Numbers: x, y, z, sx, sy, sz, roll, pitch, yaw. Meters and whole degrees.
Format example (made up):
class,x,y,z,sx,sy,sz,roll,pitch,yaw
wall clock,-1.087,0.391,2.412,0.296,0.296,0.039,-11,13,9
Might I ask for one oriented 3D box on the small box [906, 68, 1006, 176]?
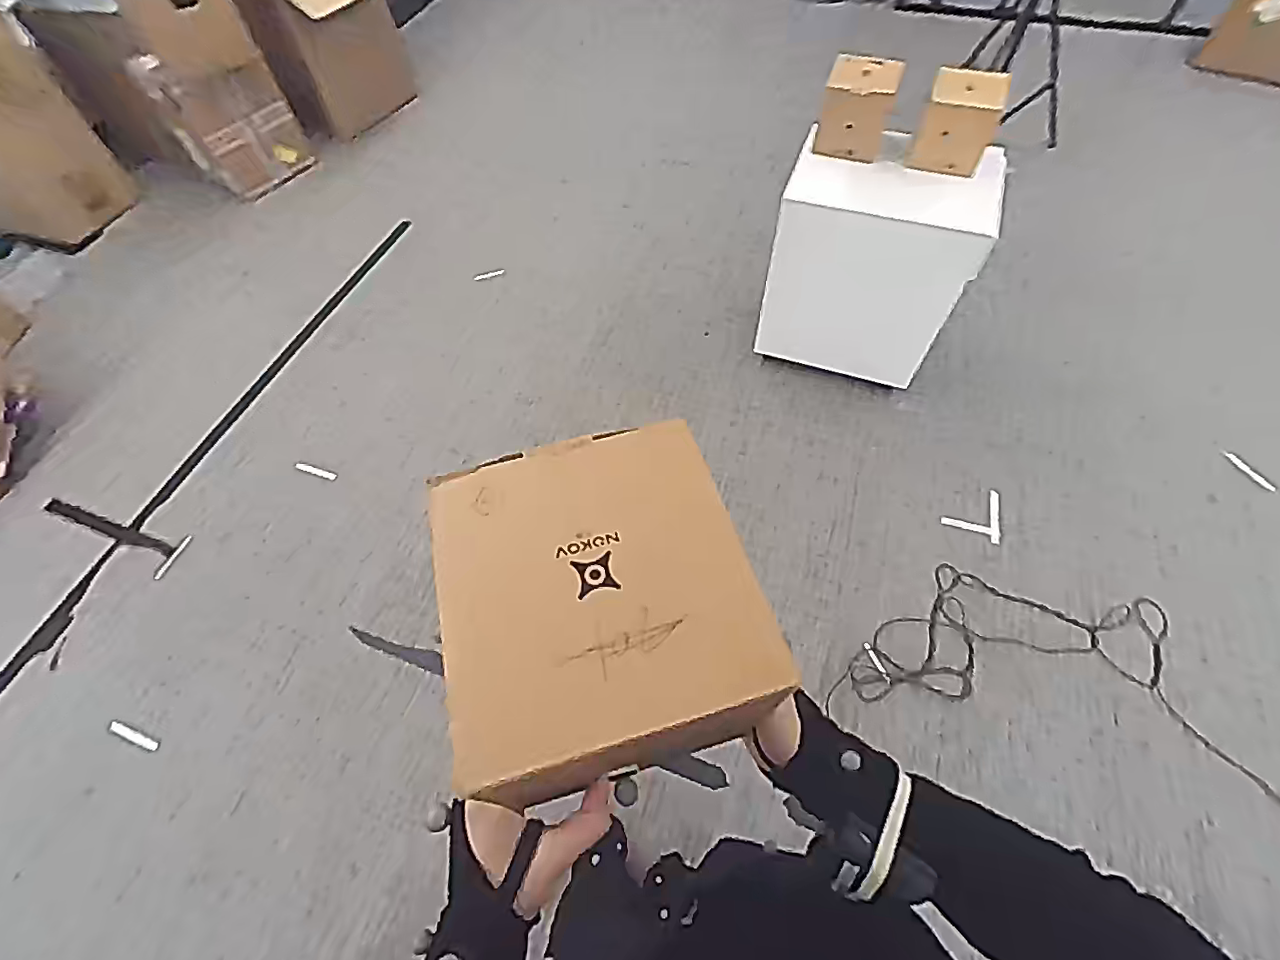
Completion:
class,x,y,z,sx,sy,sz,roll,pitch,yaw
small box,0.799,-0.910,1.380,0.168,0.176,0.179,17,62,13

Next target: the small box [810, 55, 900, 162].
class,x,y,z,sx,sy,sz,roll,pitch,yaw
small box,0.563,-0.980,1.432,0.168,0.176,0.179,18,64,12

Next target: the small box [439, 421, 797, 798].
class,x,y,z,sx,sy,sz,roll,pitch,yaw
small box,-0.023,0.091,0.363,0.168,0.176,0.179,-14,58,-8
